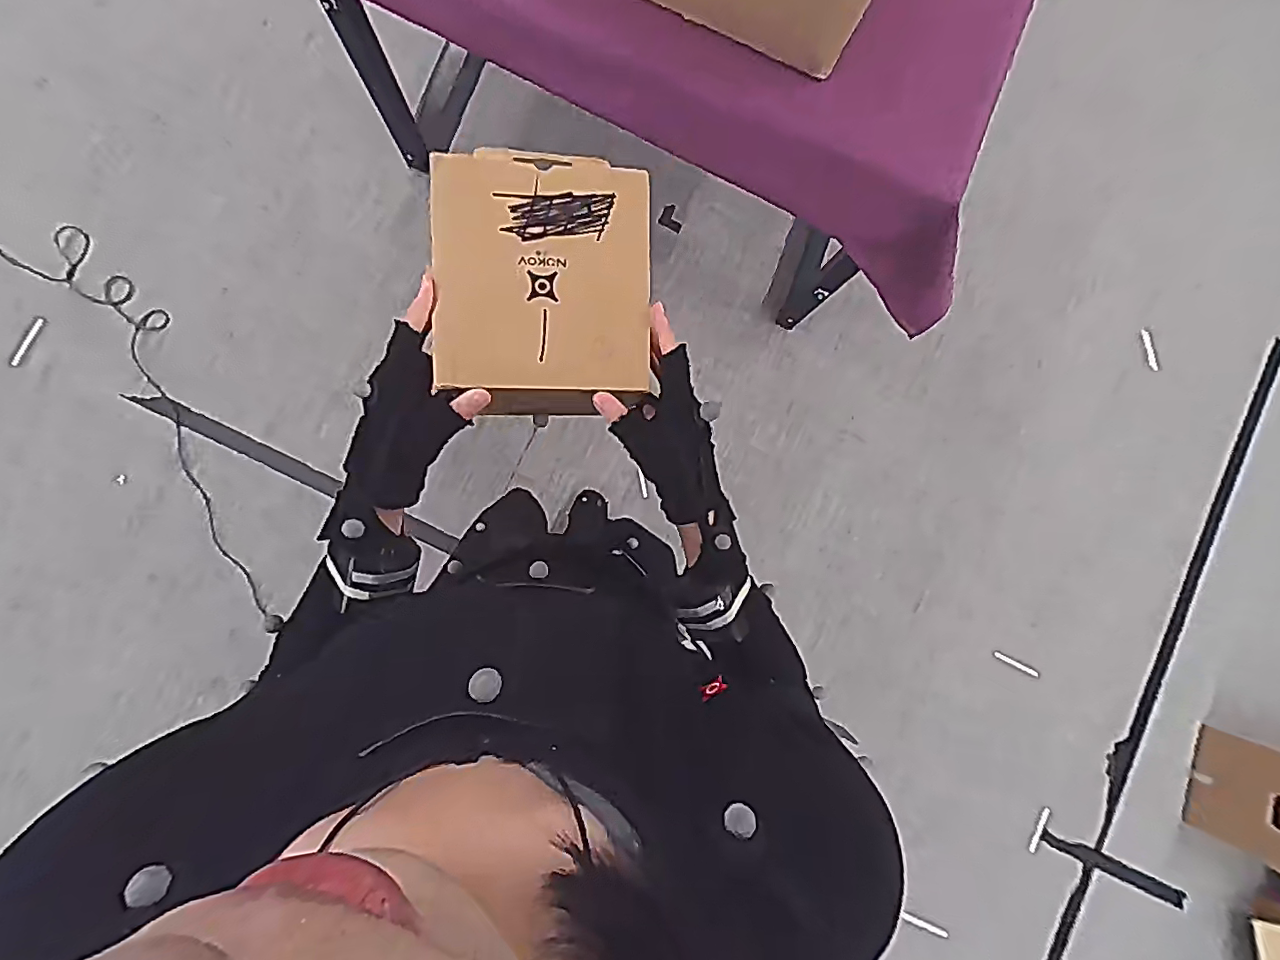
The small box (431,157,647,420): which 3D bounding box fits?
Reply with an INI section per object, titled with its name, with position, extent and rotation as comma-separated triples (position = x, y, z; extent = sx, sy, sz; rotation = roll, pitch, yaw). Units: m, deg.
[small box]
position = -0.088, -0.154, 0.494
extent = 0.168, 0.176, 0.179
rotation = 0, 90, -9
